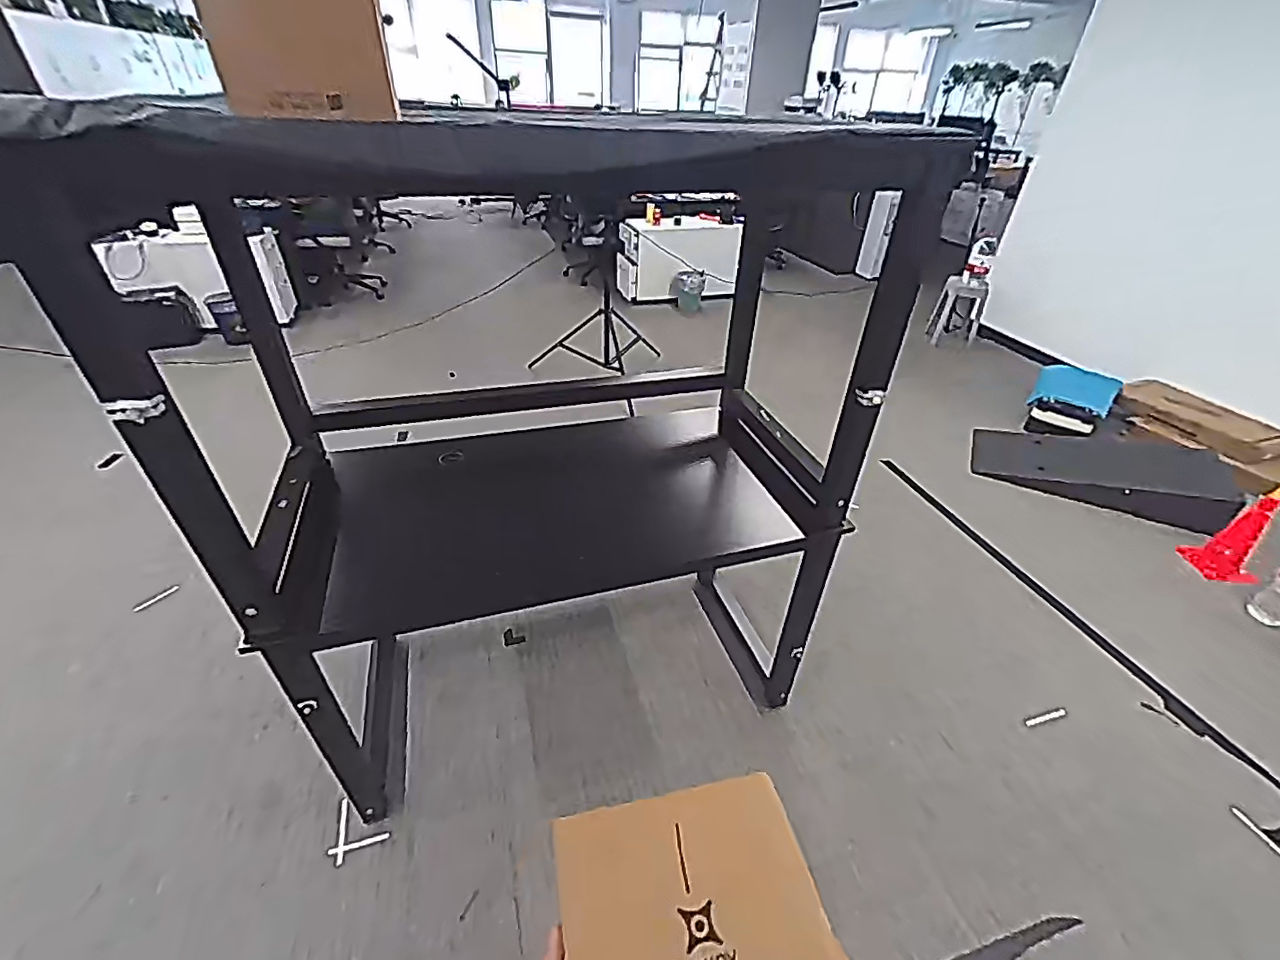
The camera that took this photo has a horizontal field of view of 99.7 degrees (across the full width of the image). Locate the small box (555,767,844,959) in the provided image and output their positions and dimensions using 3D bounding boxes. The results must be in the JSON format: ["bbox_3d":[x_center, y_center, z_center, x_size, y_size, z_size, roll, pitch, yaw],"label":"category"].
[{"bbox_3d":[0.034,0.341,0.382,0.168,0.176,0.179,-5,39,-12],"label":"small box"}]
